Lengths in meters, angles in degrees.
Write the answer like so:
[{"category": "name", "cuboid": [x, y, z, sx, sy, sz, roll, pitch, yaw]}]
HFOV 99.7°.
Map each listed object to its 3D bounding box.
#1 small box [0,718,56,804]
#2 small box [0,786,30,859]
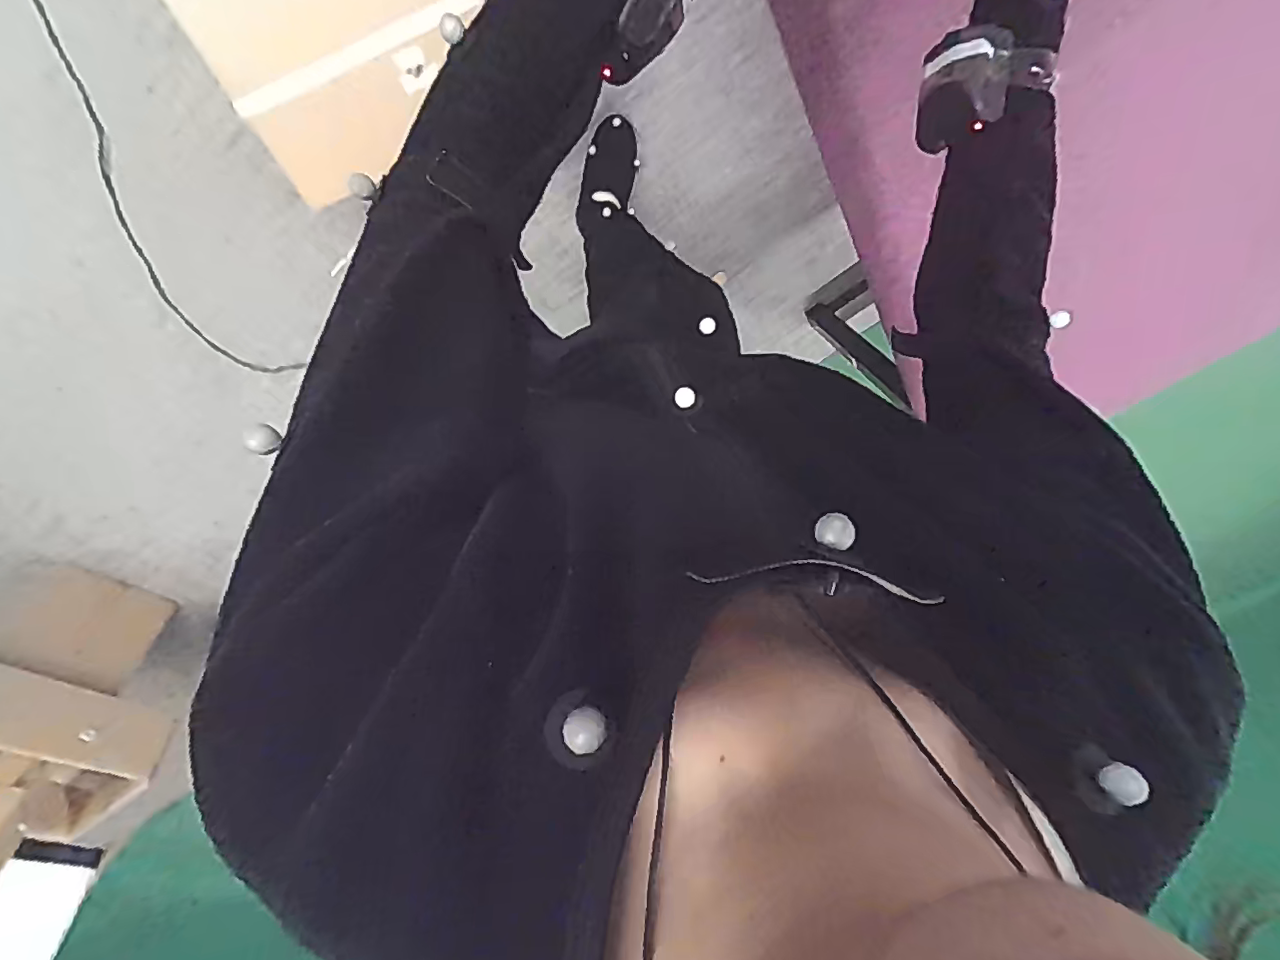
[{"category": "small box", "cuboid": [-1.592, 0.701, 1.323, 0.179, 0.176, 0.168, 14, 122, -23]}, {"category": "small box", "cuboid": [-1.537, 0.802, 1.202, 0.179, 0.176, 0.168, 15, 123, -24]}]
